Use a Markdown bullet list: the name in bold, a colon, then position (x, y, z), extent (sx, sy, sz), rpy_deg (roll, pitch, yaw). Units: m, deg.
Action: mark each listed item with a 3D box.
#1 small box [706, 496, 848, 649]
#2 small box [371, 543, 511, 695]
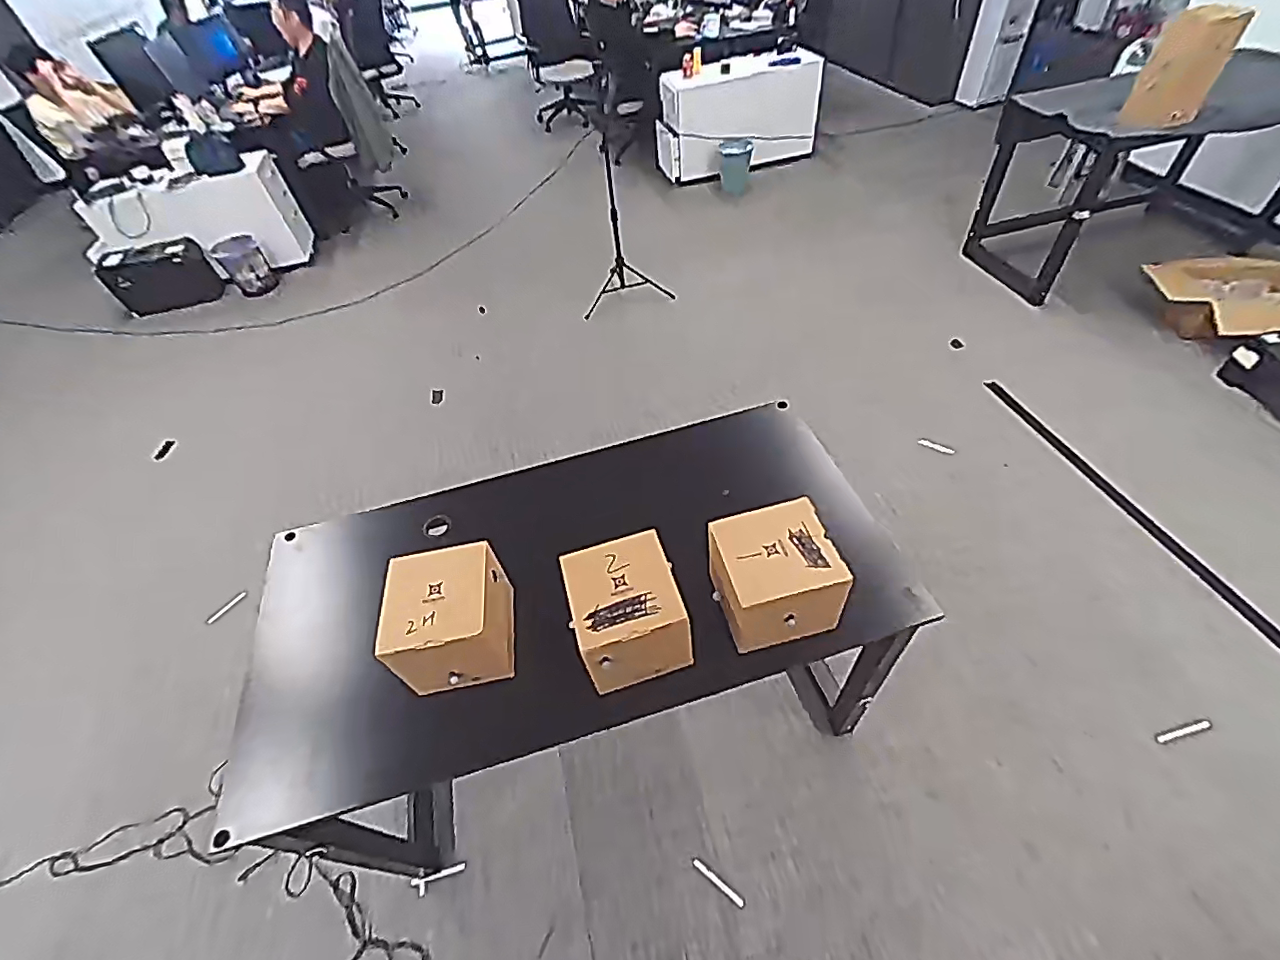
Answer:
- **small box**: position (0.217, 0.157, 0.905), extent (0.179, 0.176, 0.168), rpy_deg (-15, 49, -3)
- **small box**: position (-0.322, 0.236, 0.913), extent (0.168, 0.176, 0.179), rpy_deg (-12, 49, -2)
